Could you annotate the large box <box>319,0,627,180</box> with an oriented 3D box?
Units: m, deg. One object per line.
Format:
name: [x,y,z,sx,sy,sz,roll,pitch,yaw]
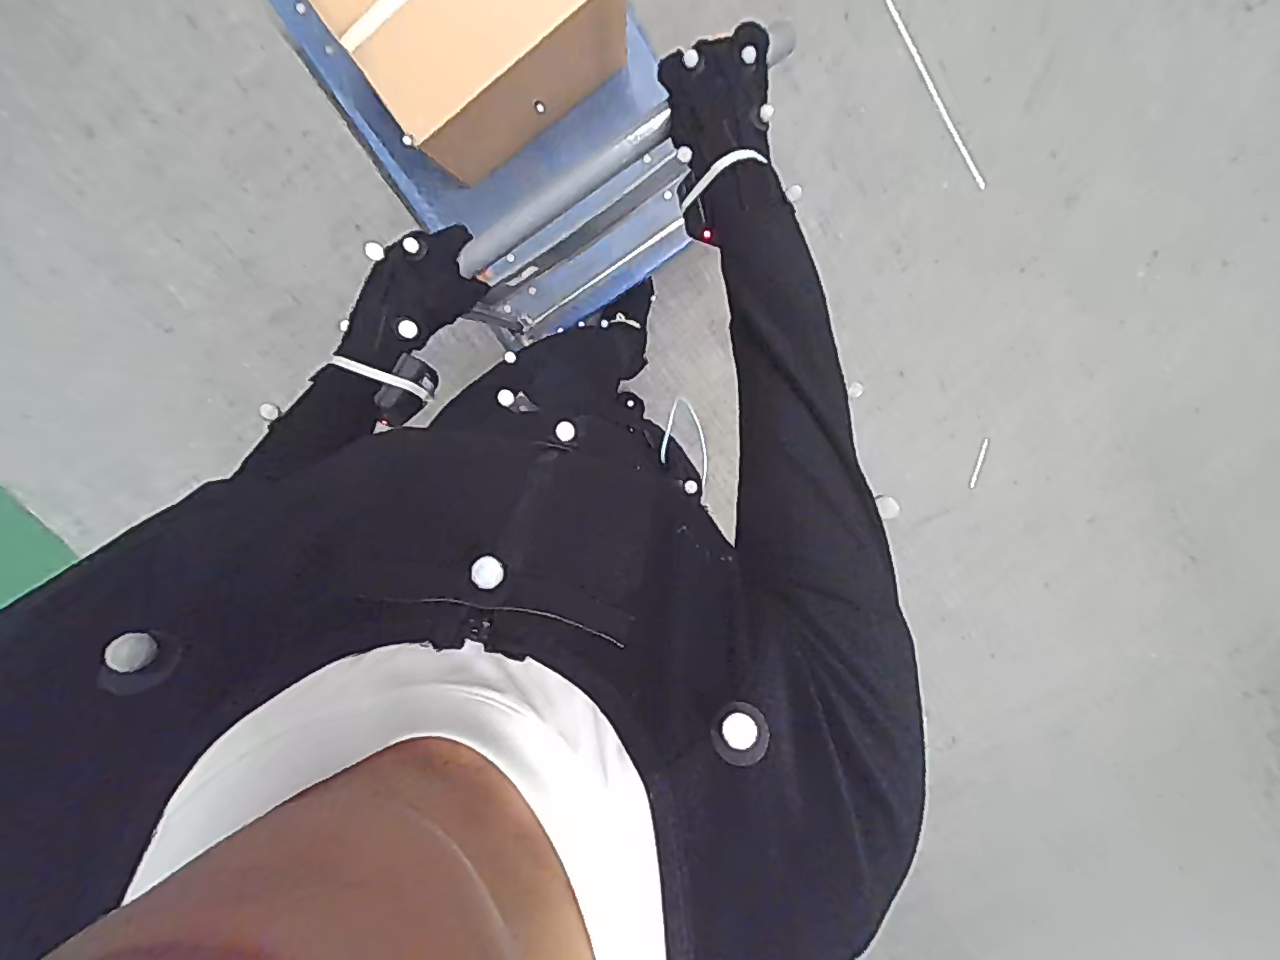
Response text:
large box: [-0.269,-0.806,0.926,0.408,0.320,0.320,-34,104,10]
